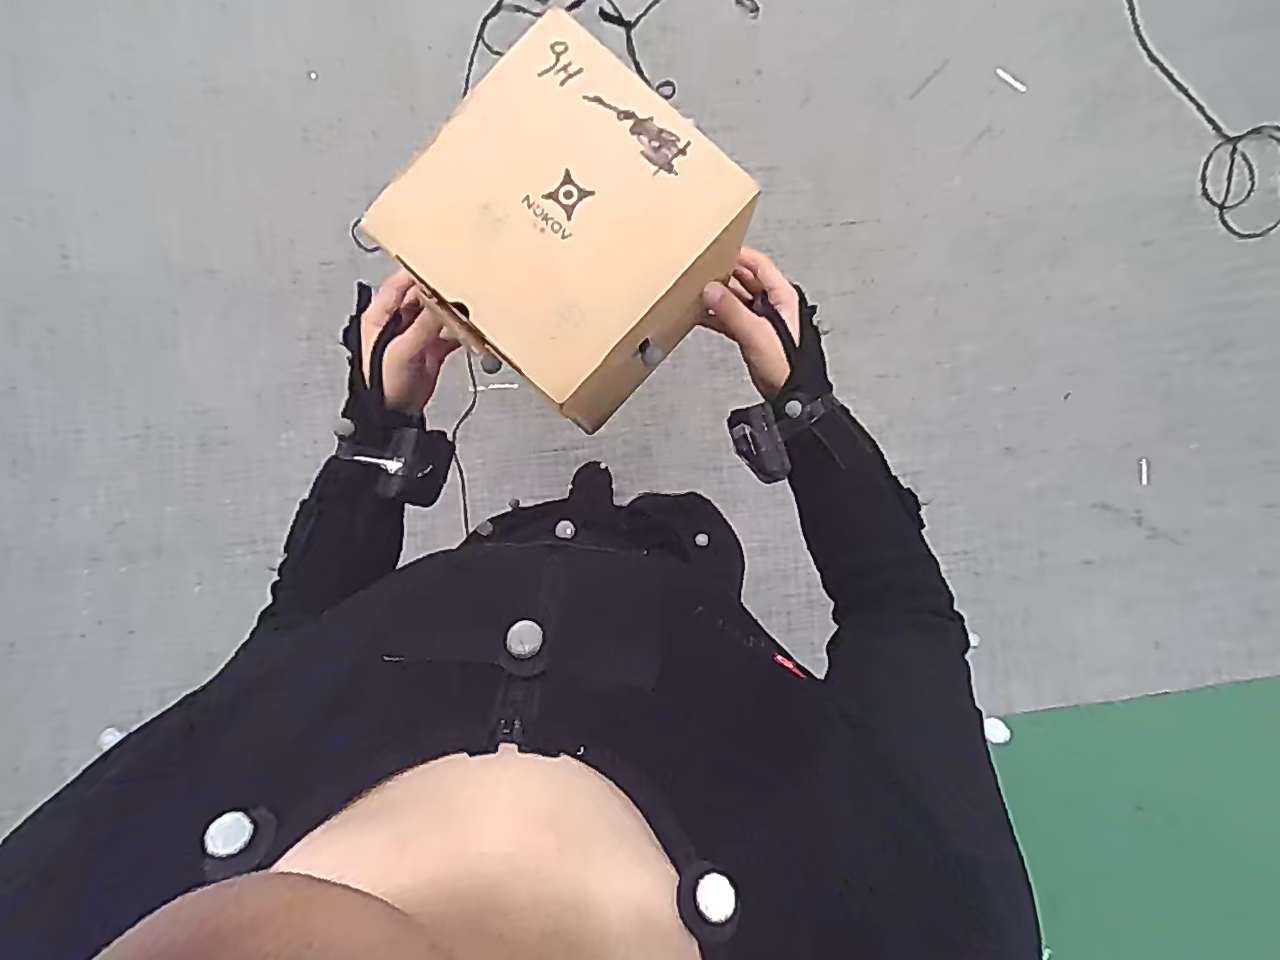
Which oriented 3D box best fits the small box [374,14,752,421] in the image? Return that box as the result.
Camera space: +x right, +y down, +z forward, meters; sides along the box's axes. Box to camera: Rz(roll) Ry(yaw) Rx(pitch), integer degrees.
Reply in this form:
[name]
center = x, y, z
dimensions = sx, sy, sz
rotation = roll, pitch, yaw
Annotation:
[small box]
center = -0.044, -0.163, 0.403
dimensions = 0.168, 0.176, 0.179
rotation = 43, 91, 2
